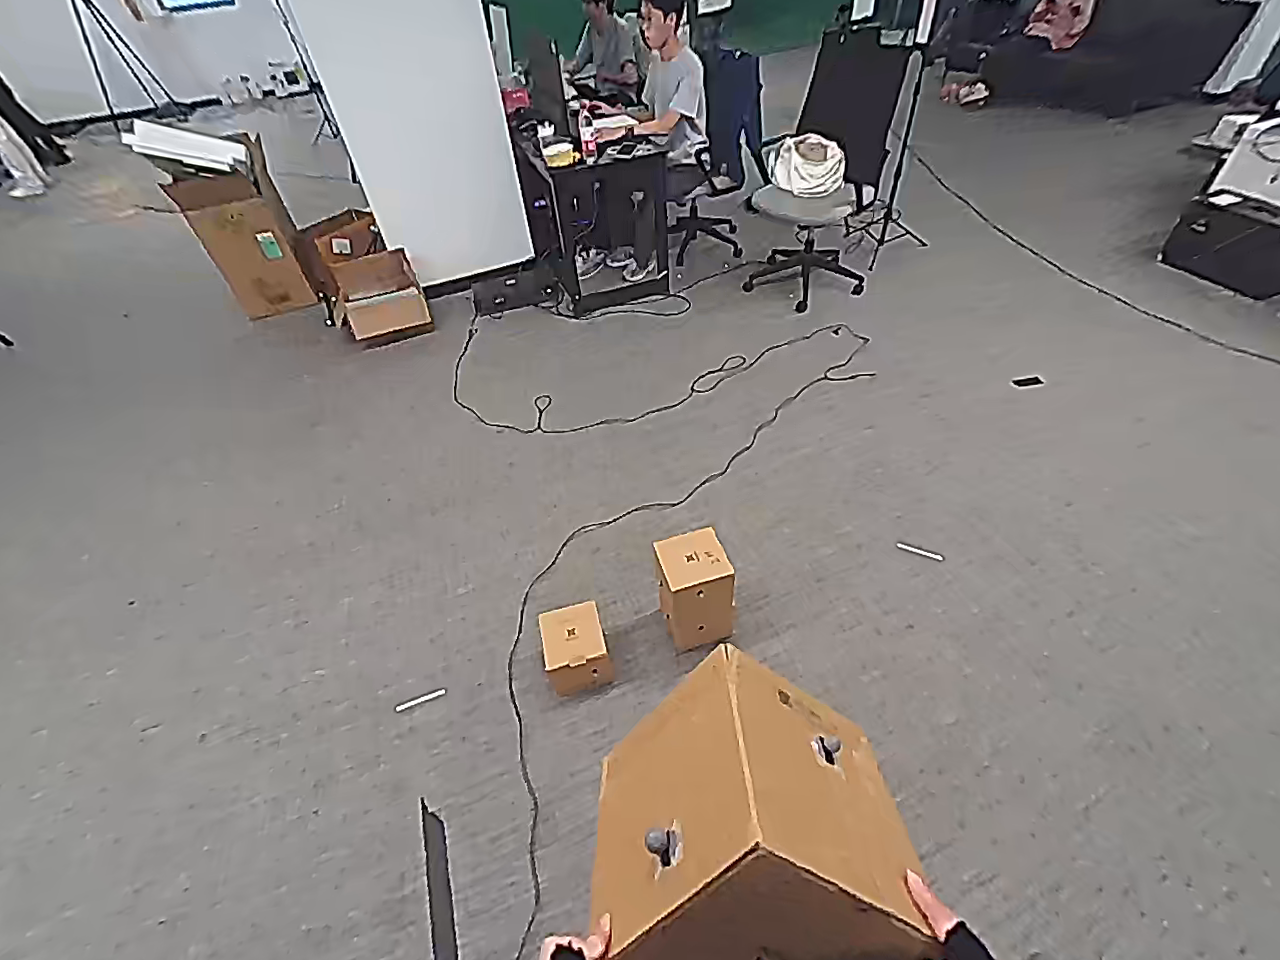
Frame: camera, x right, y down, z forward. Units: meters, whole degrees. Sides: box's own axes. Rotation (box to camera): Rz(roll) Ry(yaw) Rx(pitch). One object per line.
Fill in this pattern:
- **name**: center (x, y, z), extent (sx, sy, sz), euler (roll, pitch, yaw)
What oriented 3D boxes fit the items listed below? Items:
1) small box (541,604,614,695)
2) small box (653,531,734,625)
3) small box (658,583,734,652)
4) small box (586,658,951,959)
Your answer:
- **small box**: center (-0.175, 0.487, 1.533), extent (0.168, 0.176, 0.179), euler (-13, 46, -7)
- **small box**: center (0.145, 0.271, 1.474), extent (0.179, 0.176, 0.168), euler (-14, 46, -8)
- **small box**: center (0.166, 0.382, 1.595), extent (0.179, 0.176, 0.168), euler (-16, 47, -9)
- **small box**: center (0.081, 0.280, 0.417), extent (0.168, 0.179, 0.176), euler (34, 19, -12)
